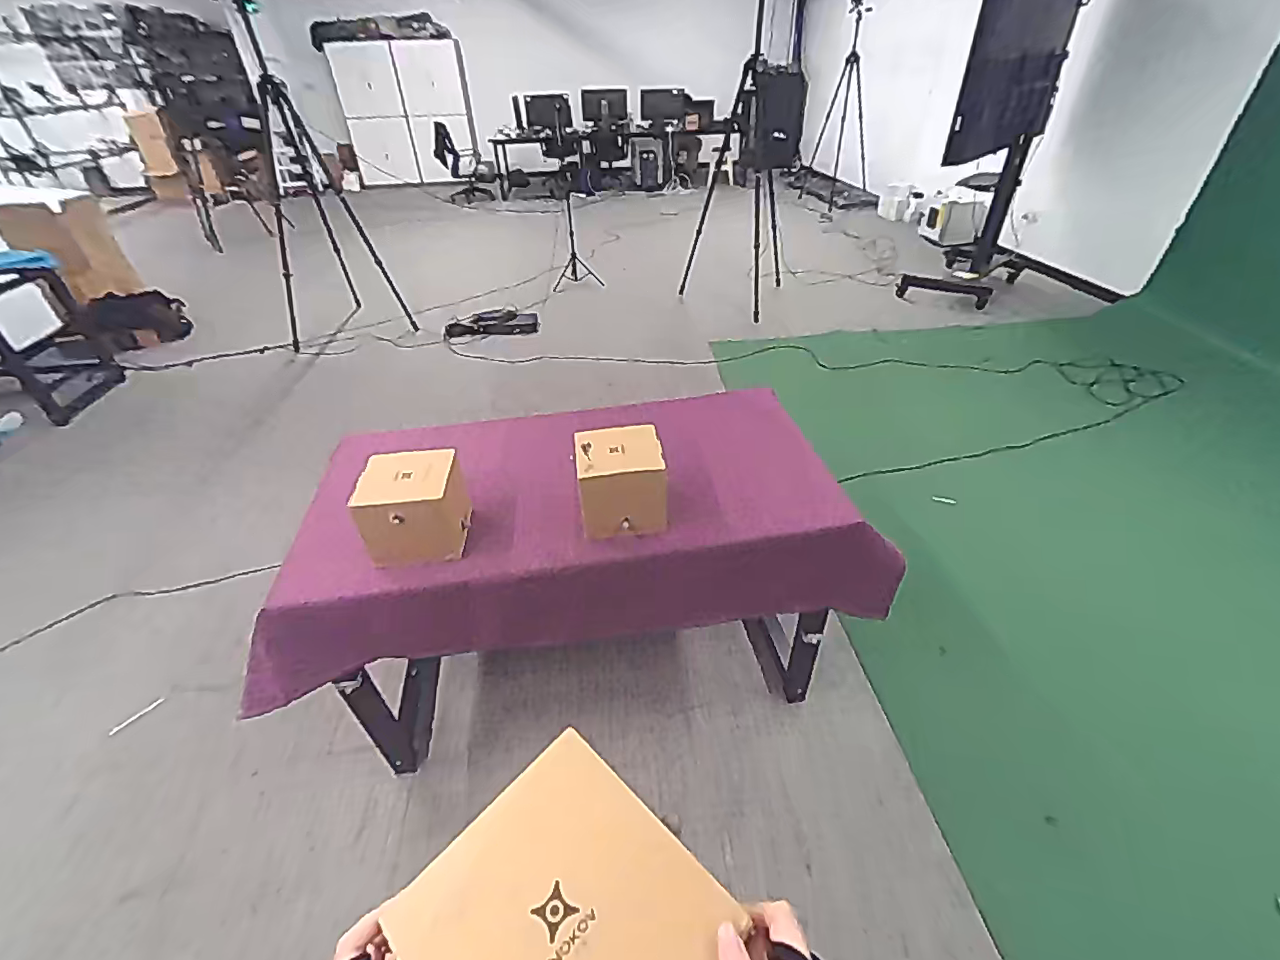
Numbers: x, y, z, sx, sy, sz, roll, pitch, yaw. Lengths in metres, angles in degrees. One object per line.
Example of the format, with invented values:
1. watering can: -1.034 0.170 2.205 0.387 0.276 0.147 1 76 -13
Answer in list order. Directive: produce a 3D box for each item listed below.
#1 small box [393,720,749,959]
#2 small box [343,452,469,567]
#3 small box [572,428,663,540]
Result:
1. small box: -0.039 0.326 0.397 0.179 0.176 0.168 29 54 34
2. small box: -0.465 0.062 1.105 0.179 0.176 0.168 -5 38 -4
3. small box: -0.050 0.008 1.153 0.179 0.176 0.168 -6 37 -5
